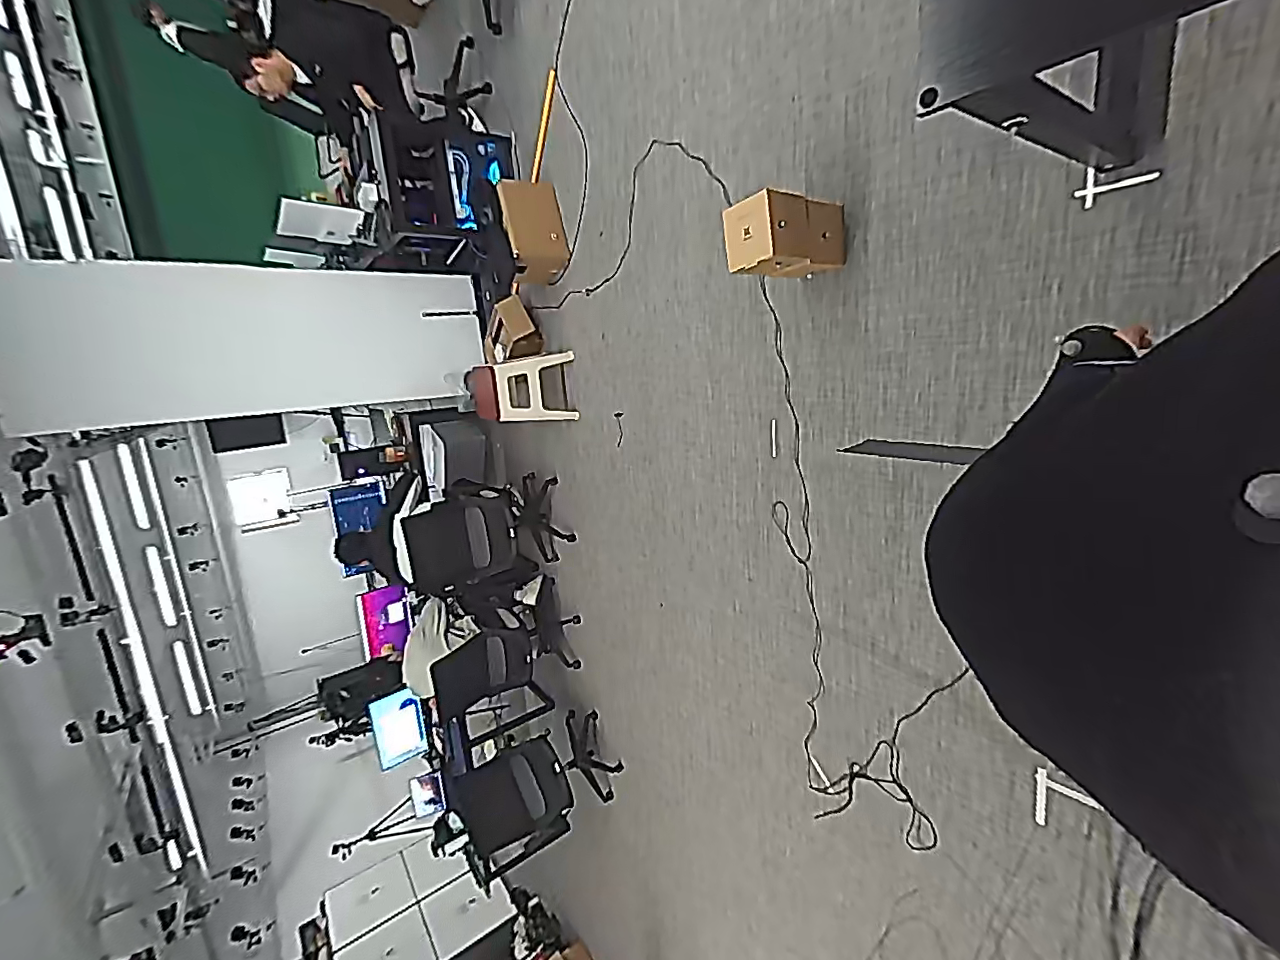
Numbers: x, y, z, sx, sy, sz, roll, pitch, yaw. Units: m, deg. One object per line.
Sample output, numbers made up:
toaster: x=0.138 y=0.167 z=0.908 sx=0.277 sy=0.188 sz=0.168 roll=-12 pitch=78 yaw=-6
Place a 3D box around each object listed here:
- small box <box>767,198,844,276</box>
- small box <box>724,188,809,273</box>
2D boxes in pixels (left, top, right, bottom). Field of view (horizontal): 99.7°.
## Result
small box: x=0.494 y=-0.722 z=1.625 sx=0.168 sy=0.176 sz=0.179 roll=7 pitch=107 yaw=54
small box: x=0.362 y=-0.698 z=1.533 sx=0.168 sy=0.176 sz=0.179 roll=2 pitch=101 yaw=54
